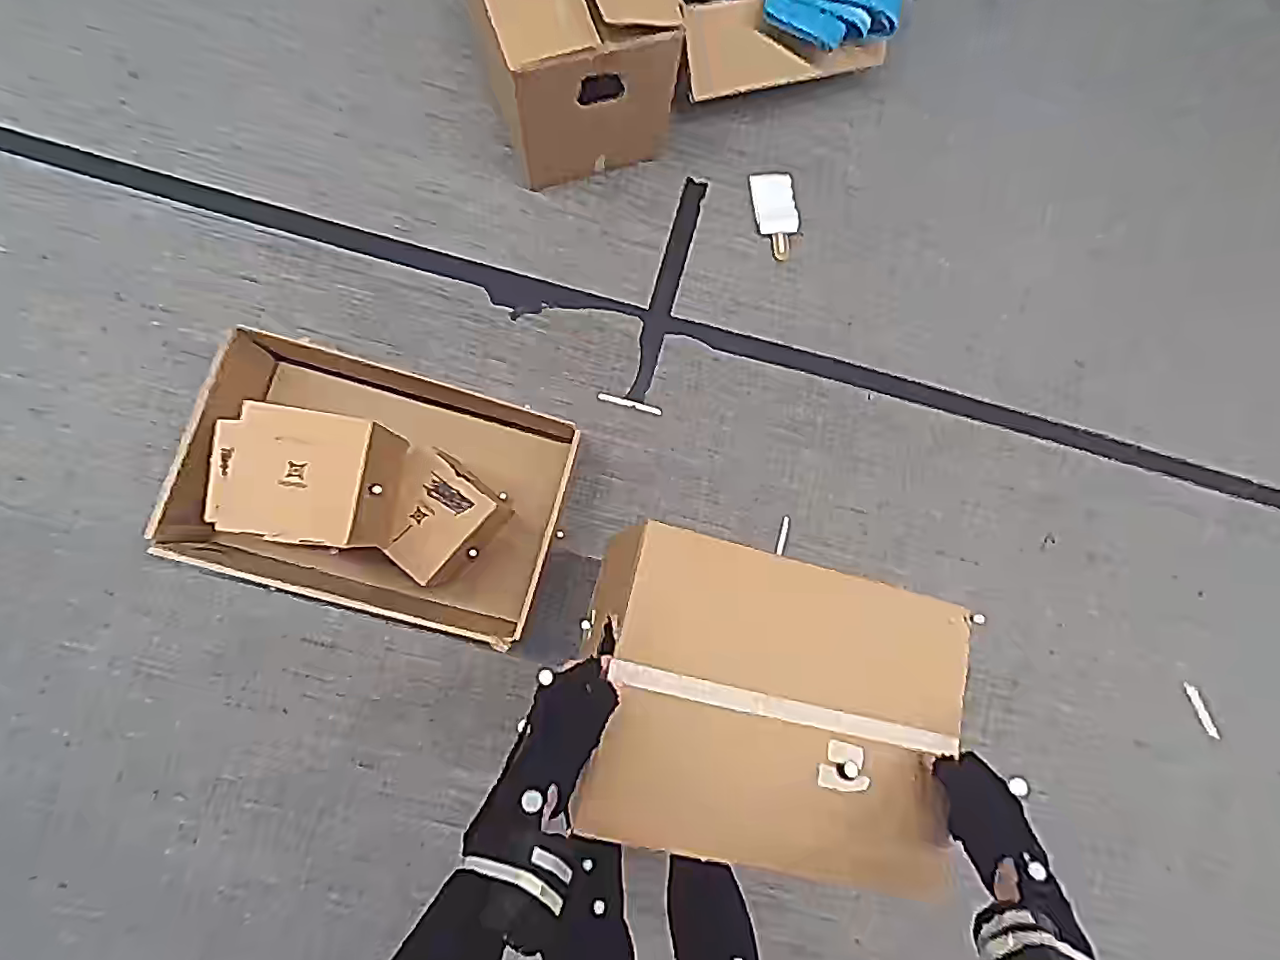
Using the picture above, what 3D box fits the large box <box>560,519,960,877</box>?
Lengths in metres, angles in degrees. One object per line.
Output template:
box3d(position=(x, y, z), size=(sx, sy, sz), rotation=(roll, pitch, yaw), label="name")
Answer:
box3d(position=(0.129, 0.258, 0.723), size=(0.408, 0.320, 0.320), rotation=(15, 78, -9), label="large box")

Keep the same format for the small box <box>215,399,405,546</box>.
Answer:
box3d(position=(-0.460, -0.002, 0.784), size=(0.168, 0.176, 0.179), rotation=(8, 82, -6), label="small box")
